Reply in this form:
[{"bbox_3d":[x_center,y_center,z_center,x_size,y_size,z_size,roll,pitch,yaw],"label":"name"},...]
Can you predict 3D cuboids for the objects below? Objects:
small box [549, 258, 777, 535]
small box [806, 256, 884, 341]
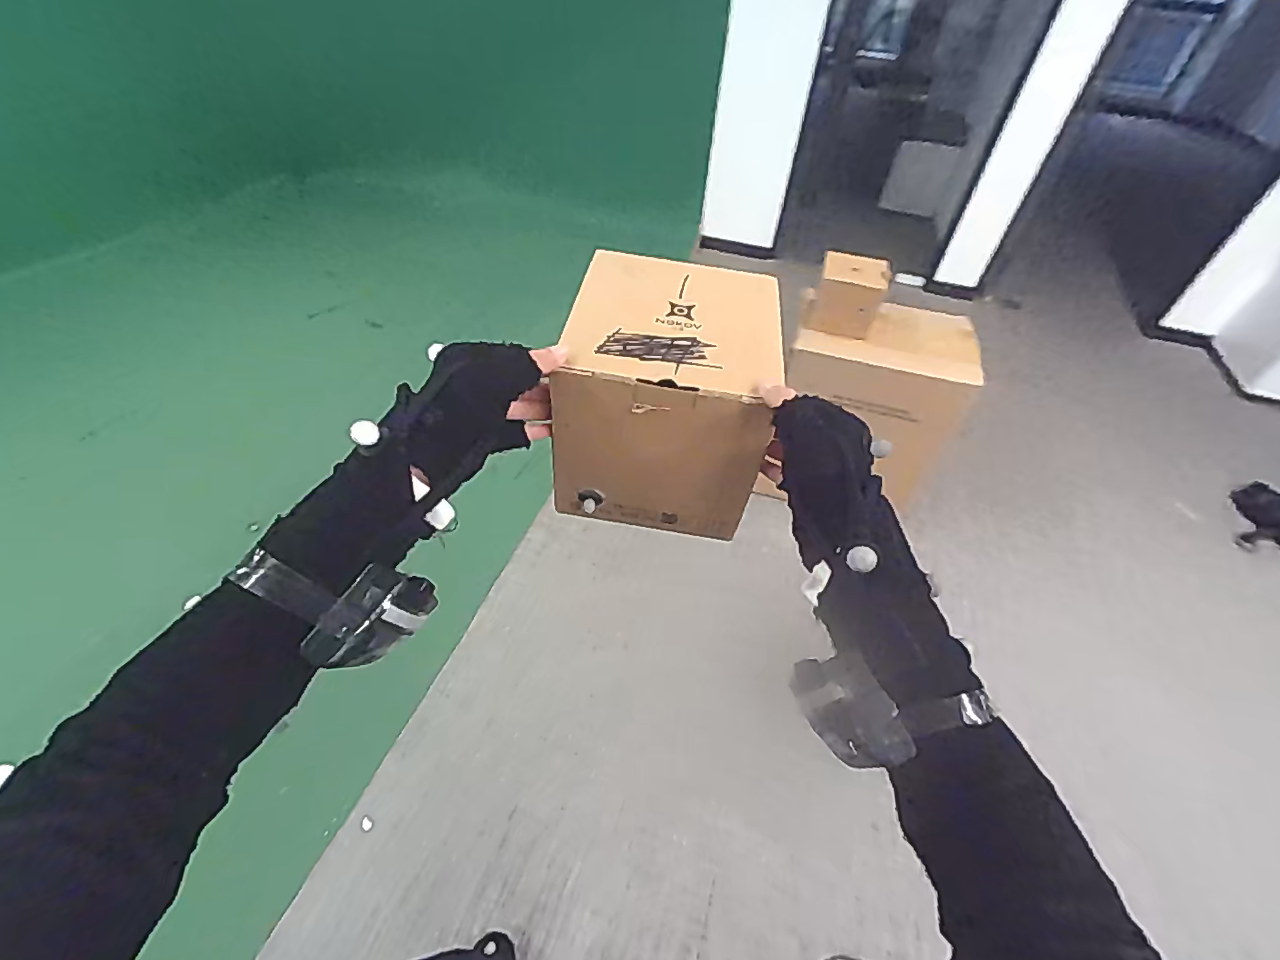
[{"bbox_3d":[0.023,-0.073,0.492,0.168,0.176,0.179,10,48,2],"label":"small box"},{"bbox_3d":[0.608,-0.535,1.608,0.179,0.176,0.168,13,50,10],"label":"small box"}]
